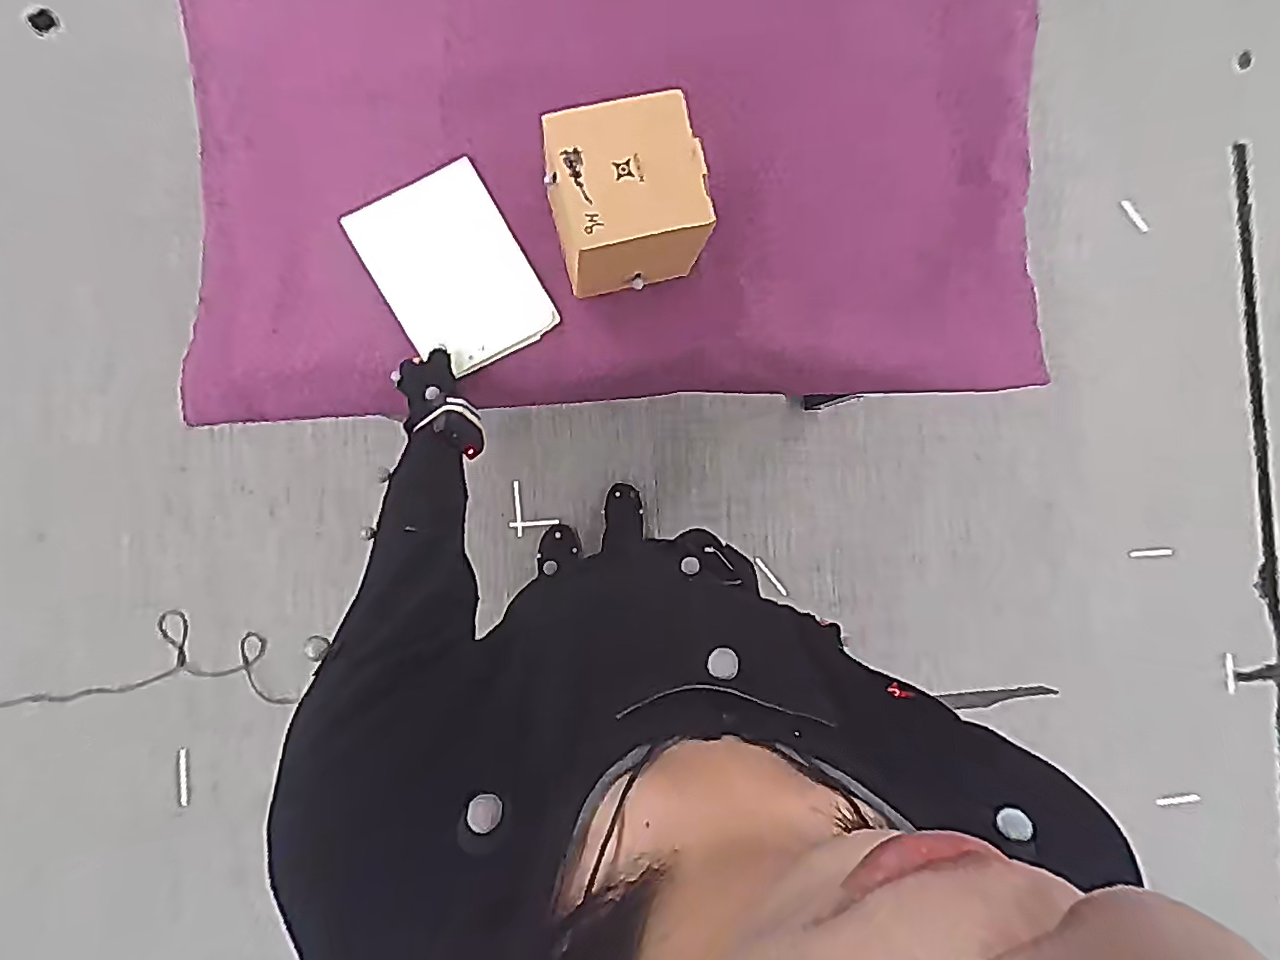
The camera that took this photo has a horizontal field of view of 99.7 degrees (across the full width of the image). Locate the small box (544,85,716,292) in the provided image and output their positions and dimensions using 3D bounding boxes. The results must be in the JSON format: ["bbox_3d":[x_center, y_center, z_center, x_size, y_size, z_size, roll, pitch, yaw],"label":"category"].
[{"bbox_3d":[-0.021,-0.370,0.713,0.179,0.176,0.168,-15,90,-8],"label":"small box"}]
